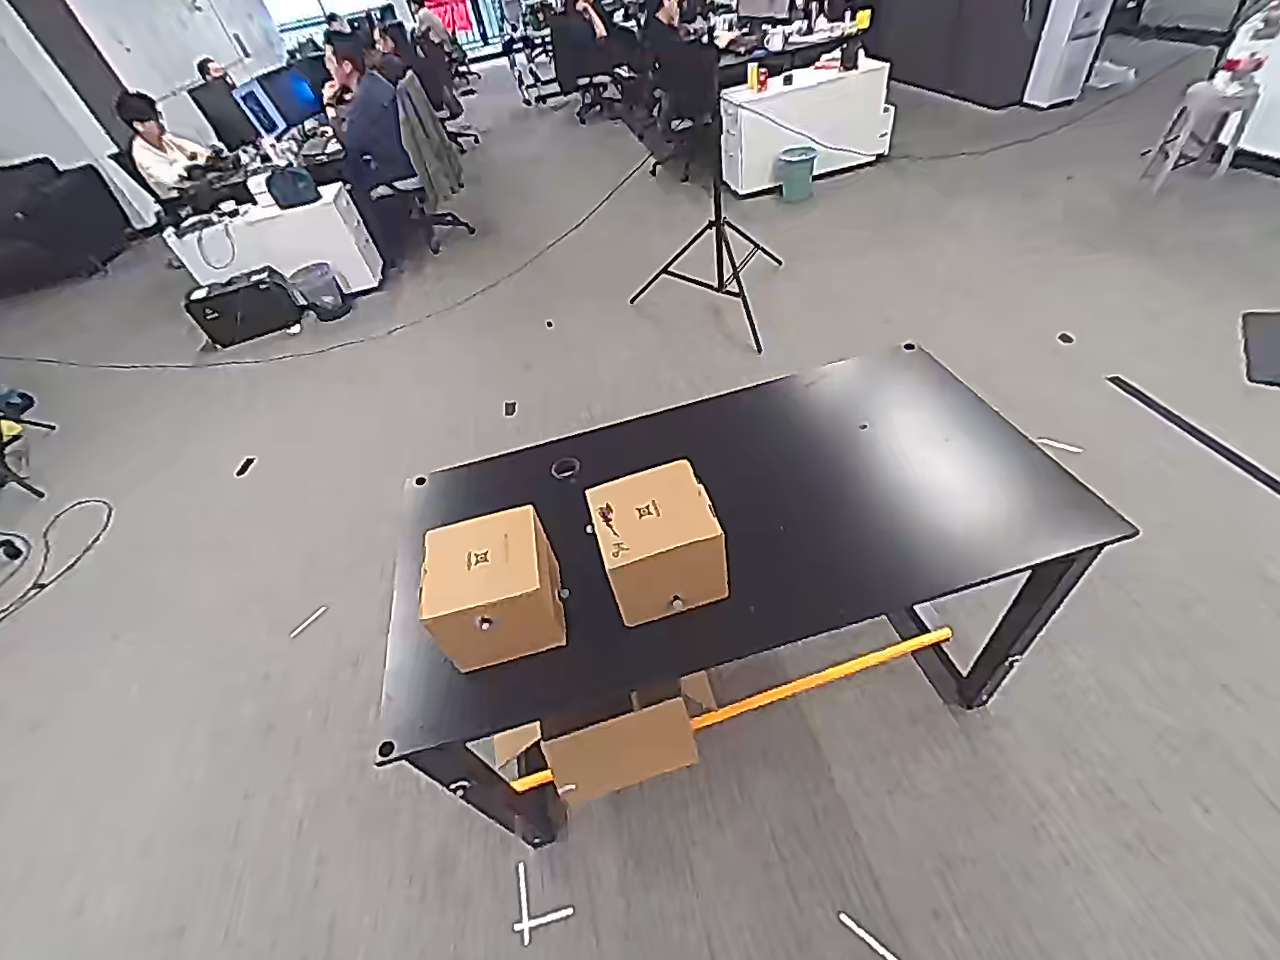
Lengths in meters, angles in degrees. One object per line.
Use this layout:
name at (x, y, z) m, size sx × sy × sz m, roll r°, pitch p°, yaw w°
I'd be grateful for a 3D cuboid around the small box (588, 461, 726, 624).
small box at (0.029, 0.101, 0.865) m, size 0.179 × 0.176 × 0.168 m, roll -16°, pitch 45°, yaw -5°

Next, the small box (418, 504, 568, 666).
small box at (-0.225, 0.170, 0.853) m, size 0.179 × 0.176 × 0.168 m, roll -15°, pitch 47°, yaw -3°
